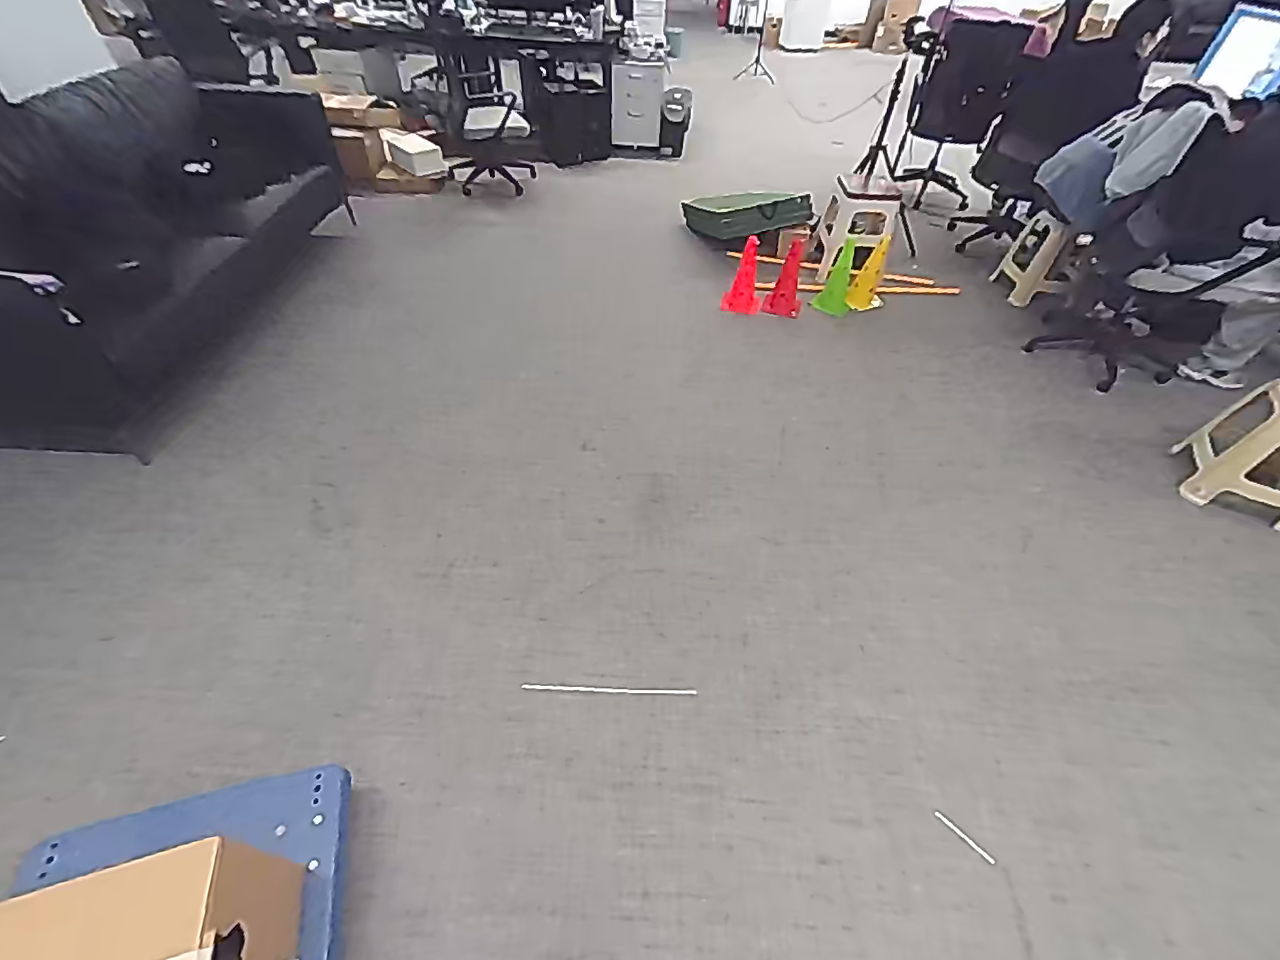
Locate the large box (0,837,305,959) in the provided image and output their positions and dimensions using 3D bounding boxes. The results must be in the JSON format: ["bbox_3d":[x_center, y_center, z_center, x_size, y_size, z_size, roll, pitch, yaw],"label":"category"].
[{"bbox_3d":[-0.787,0.802,0.809,0.408,0.320,0.320,-13,48,-12],"label":"large box"}]
